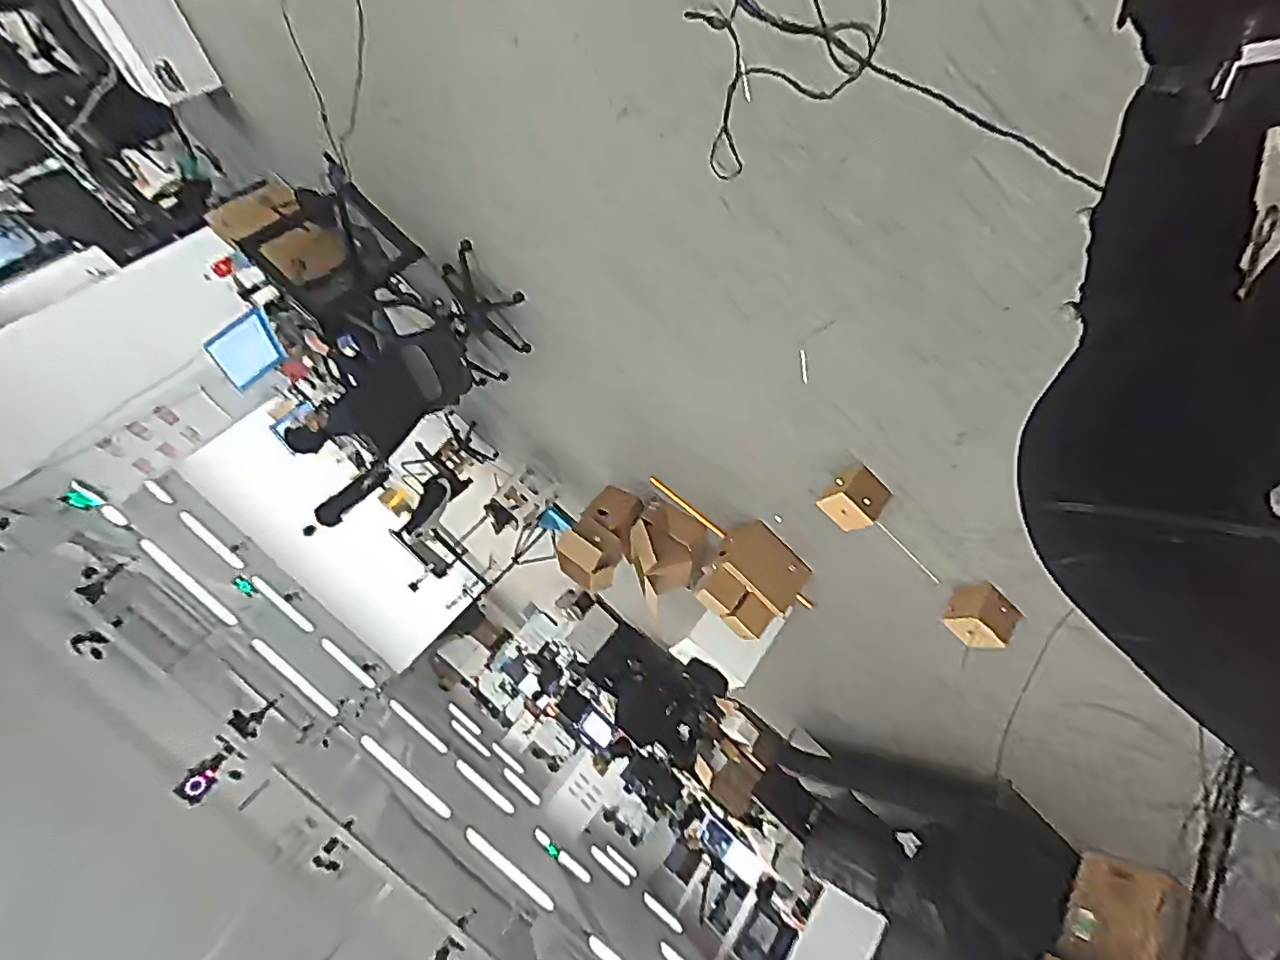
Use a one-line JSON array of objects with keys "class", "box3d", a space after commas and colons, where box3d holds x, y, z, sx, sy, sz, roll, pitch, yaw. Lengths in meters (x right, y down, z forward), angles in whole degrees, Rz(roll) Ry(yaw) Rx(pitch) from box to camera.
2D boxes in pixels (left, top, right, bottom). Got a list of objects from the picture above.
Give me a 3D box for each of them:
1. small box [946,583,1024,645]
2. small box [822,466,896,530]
[{"class": "small box", "box3d": [1.362, 0.528, 2.130, 0.168, 0.176, 0.179, 43, 155, -3]}, {"class": "small box", "box3d": [0.856, 0.066, 2.114, 0.179, 0.176, 0.168, 42, 155, -3]}]
